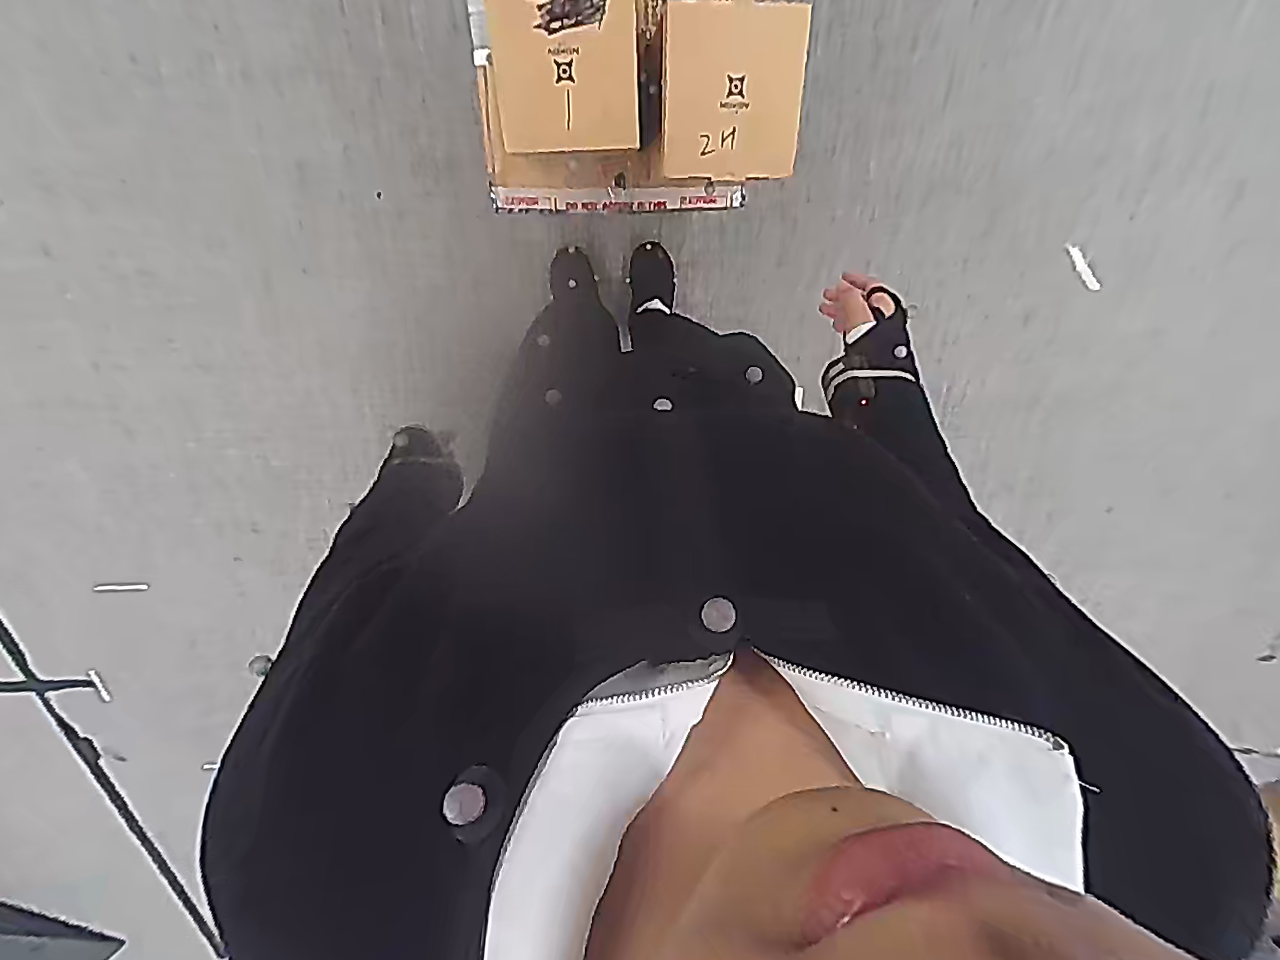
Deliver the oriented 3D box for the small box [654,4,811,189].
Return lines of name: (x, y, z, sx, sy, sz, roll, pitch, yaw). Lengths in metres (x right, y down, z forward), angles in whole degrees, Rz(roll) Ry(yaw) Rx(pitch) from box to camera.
small box: (0.107, -0.488, 0.713, 0.168, 0.176, 0.179, -2, 117, -4)

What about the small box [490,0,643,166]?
small box: (-0.084, -0.509, 0.690, 0.168, 0.176, 0.179, -3, 119, 0)
